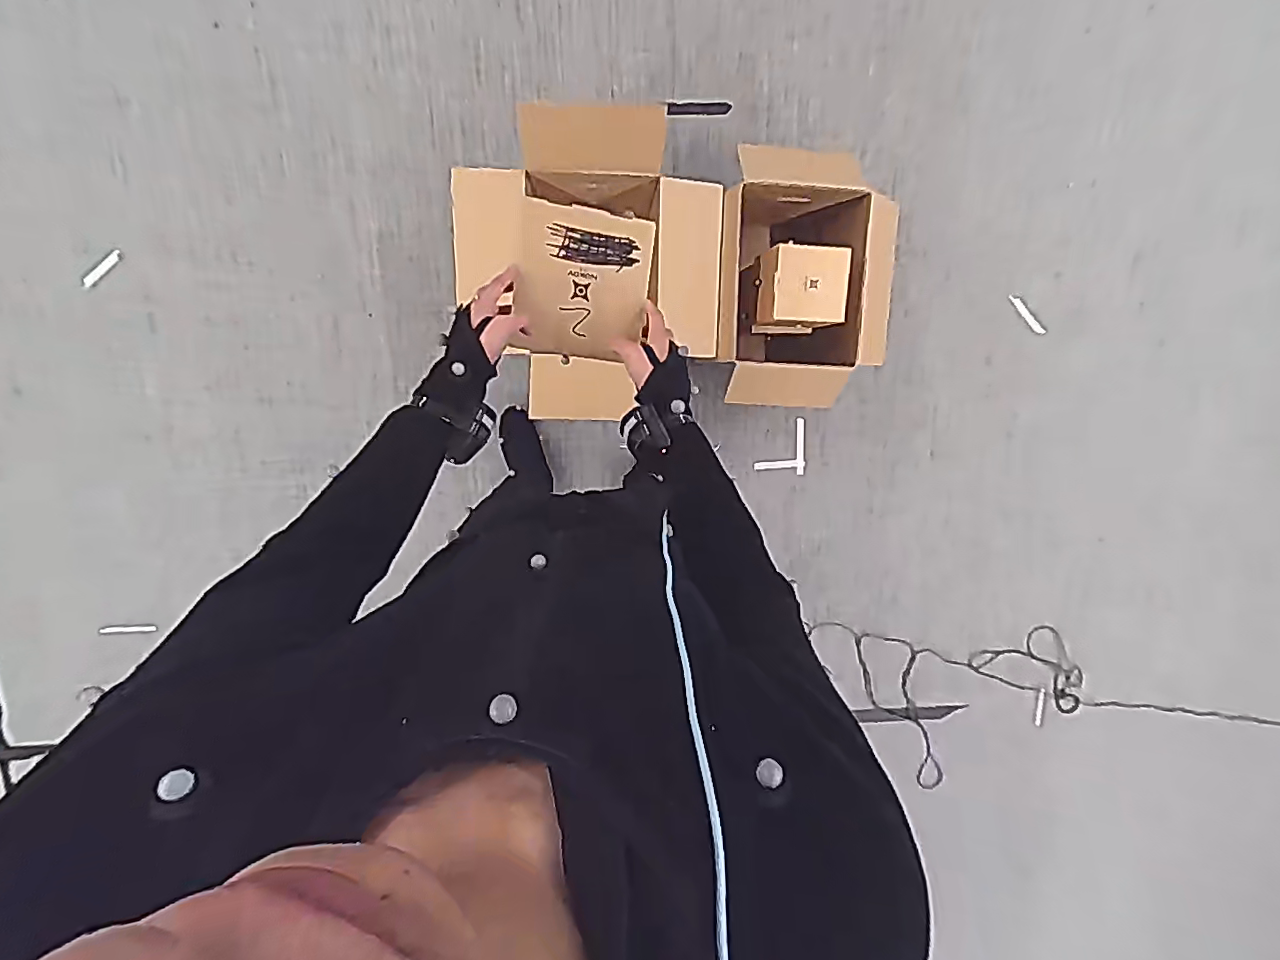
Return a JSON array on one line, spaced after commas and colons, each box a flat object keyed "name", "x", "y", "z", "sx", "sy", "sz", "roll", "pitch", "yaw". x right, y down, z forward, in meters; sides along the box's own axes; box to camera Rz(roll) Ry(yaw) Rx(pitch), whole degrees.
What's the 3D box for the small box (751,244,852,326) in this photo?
[{"name": "small box", "x": 0.385, "y": -0.465, "z": 1.313, "sx": 0.179, "sy": 0.176, "sz": 0.168, "roll": 1, "pitch": 102, "yaw": -5}]
